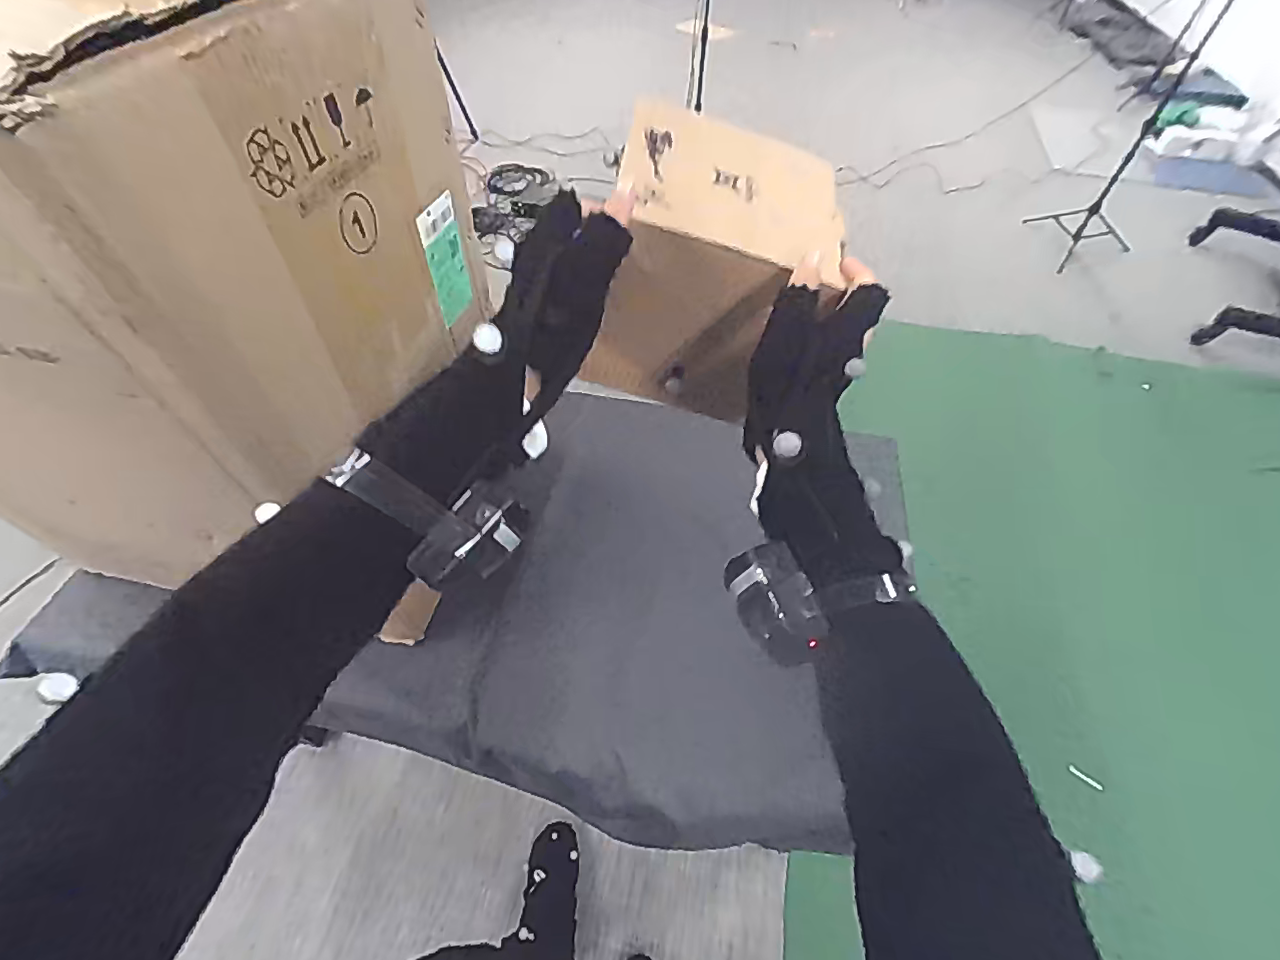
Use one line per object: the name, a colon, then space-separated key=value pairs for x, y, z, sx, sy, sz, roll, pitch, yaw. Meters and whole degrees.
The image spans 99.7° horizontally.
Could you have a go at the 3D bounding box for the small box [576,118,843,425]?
small box: x=0.054 y=-0.172 z=0.487 sx=0.179 sy=0.176 sz=0.168 roll=15 pitch=57 yaw=-10
